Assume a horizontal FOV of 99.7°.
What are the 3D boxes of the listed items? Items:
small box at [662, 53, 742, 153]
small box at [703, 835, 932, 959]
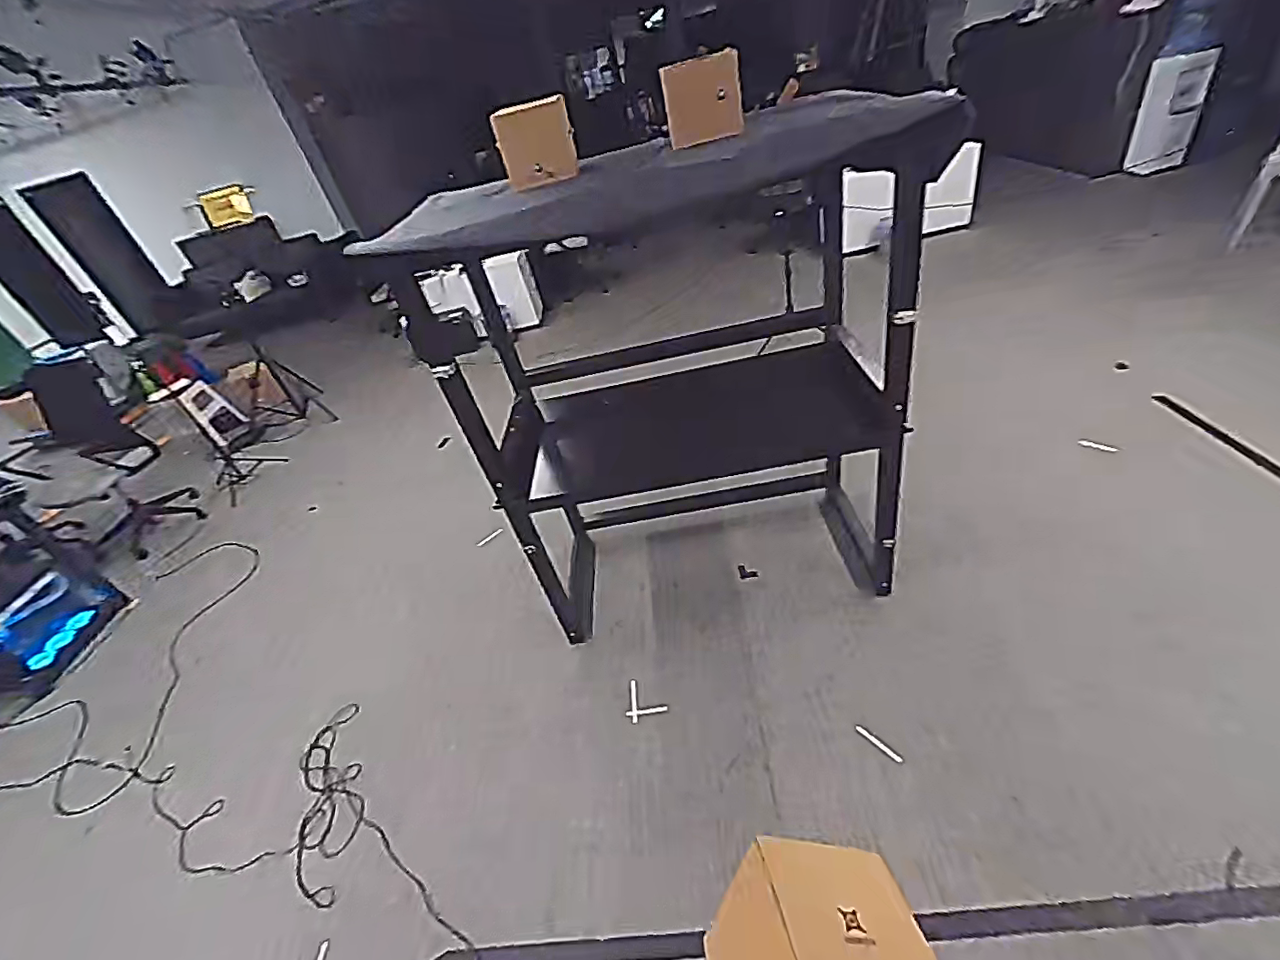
[{"bbox_3d":[0.155,-0.937,1.344,0.179,0.176,0.168,-9,37,8],"label":"small box"},{"bbox_3d":[0.182,0.519,0.562,0.168,0.176,0.179,16,16,-14],"label":"small box"}]
